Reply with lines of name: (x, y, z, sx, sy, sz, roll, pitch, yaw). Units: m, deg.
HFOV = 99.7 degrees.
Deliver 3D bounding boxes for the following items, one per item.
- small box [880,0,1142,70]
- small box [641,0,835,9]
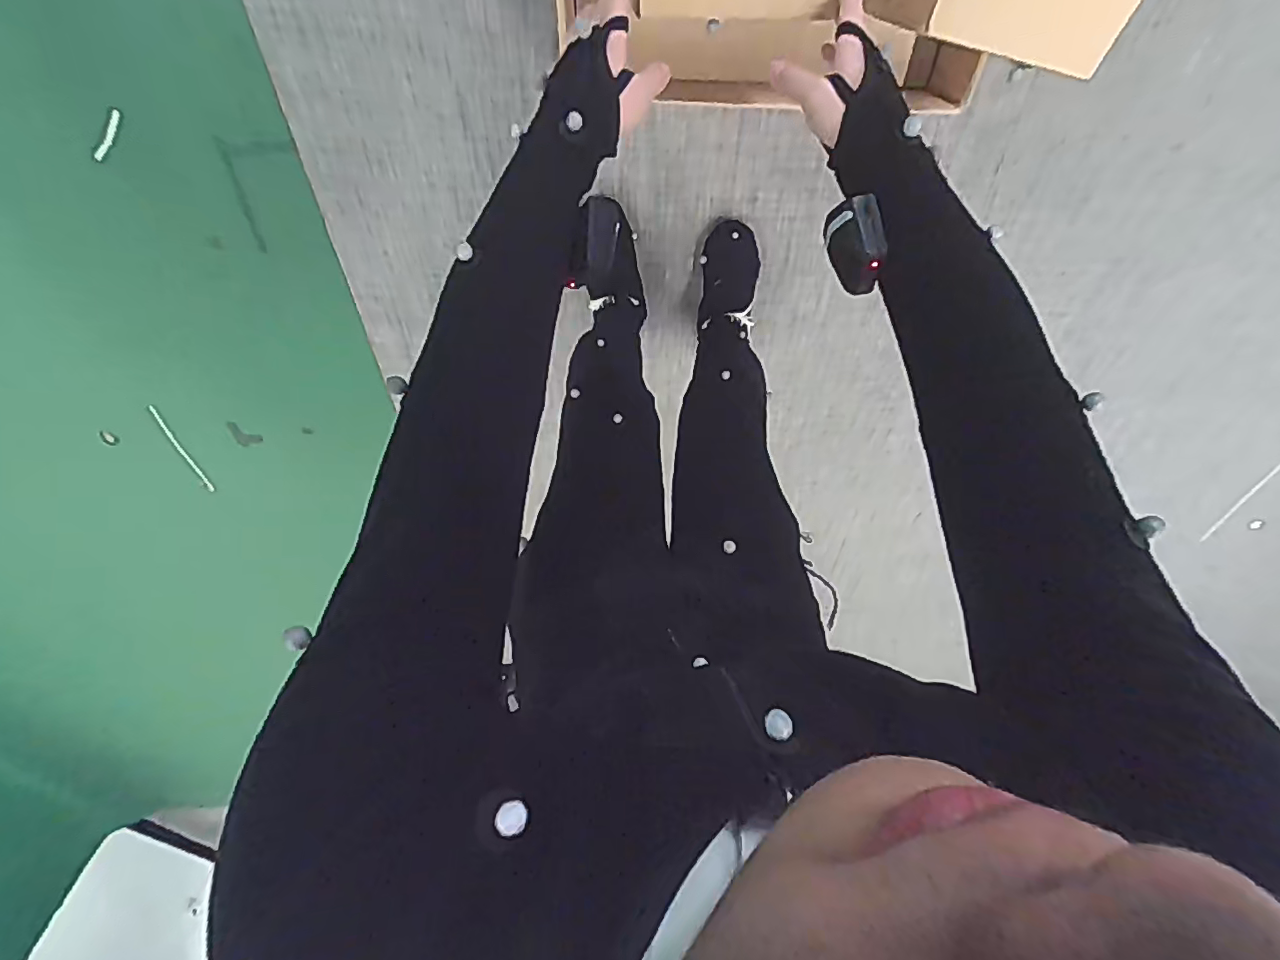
small box: (0.353, -0.503, 0.487, 0.179, 0.176, 0.168, 9, 134, -7)
small box: (0.083, -0.525, 0.473, 0.179, 0.176, 0.168, -1, 133, -2)
